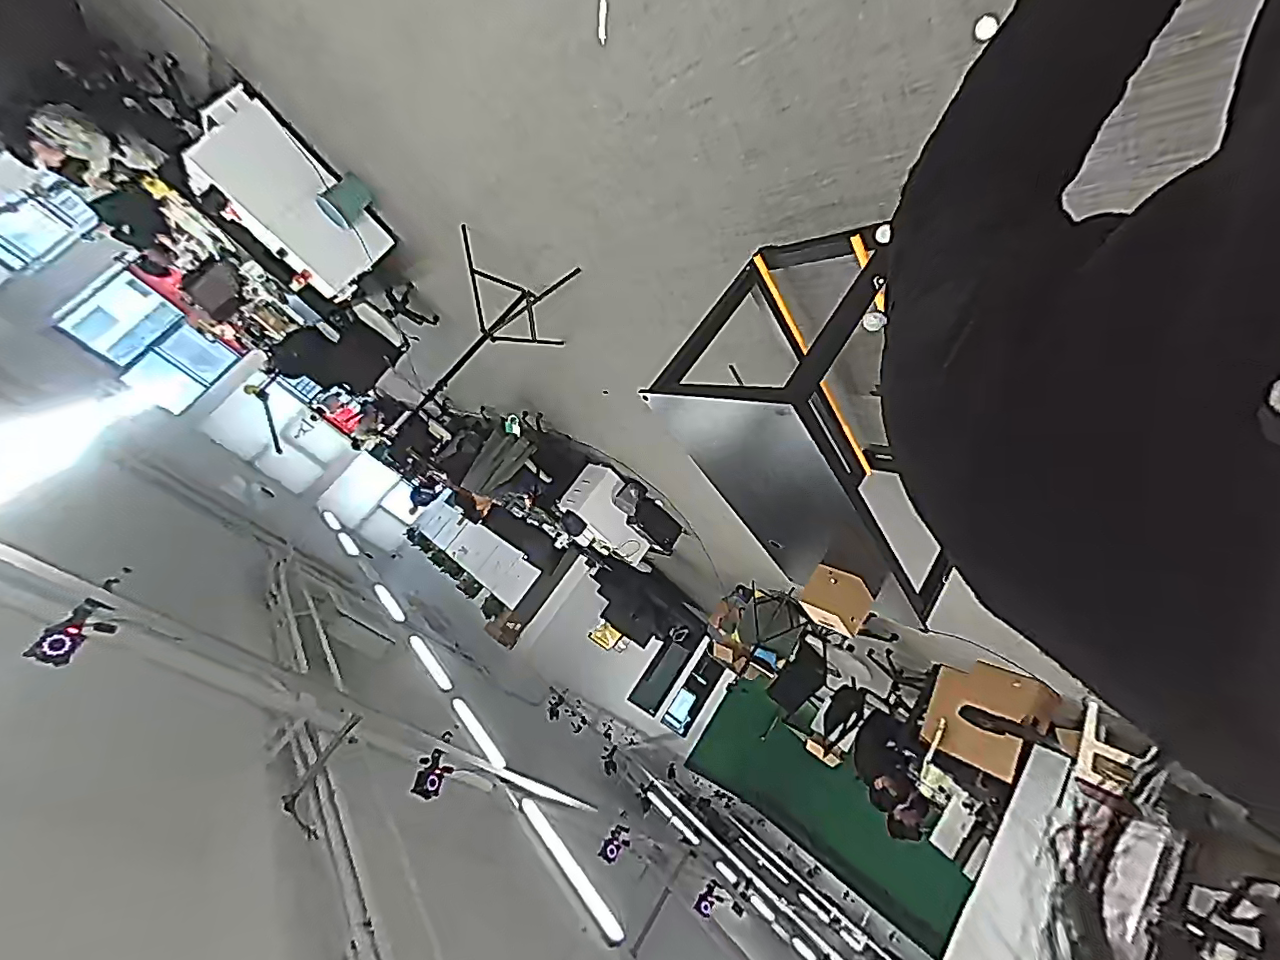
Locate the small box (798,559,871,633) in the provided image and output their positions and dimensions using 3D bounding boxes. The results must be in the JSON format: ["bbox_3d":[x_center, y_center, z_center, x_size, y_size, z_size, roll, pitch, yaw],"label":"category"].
[{"bbox_3d":[0.715,0.420,1.974,0.168,0.176,0.179,16,154,51],"label":"small box"}]
